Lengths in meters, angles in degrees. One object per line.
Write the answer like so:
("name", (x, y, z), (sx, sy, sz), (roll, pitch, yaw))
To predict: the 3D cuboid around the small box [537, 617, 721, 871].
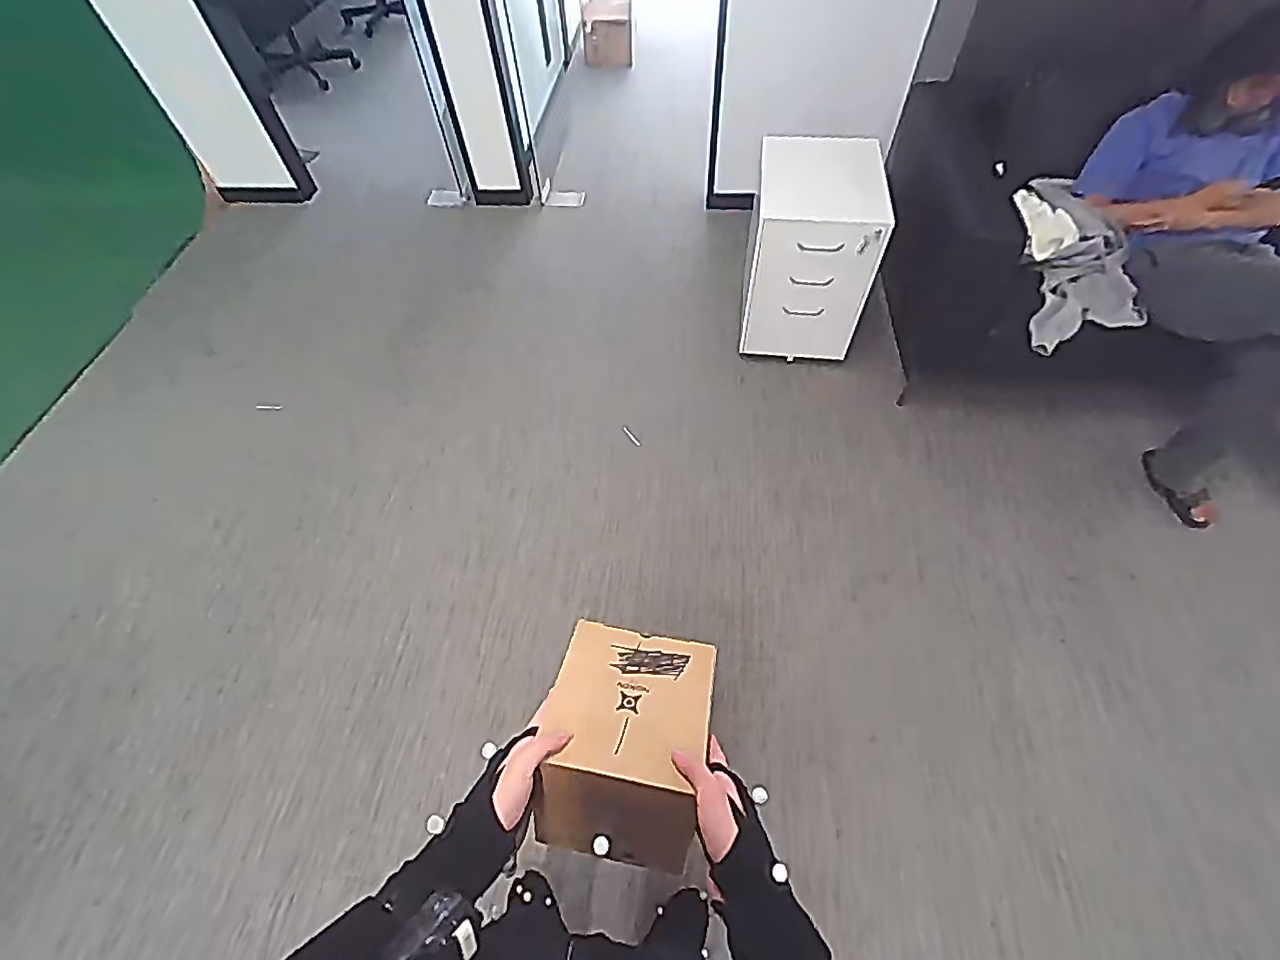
("small box", (-0.009, 0.289, 0.607), (0.168, 0.176, 0.179), (9, 33, 8))
